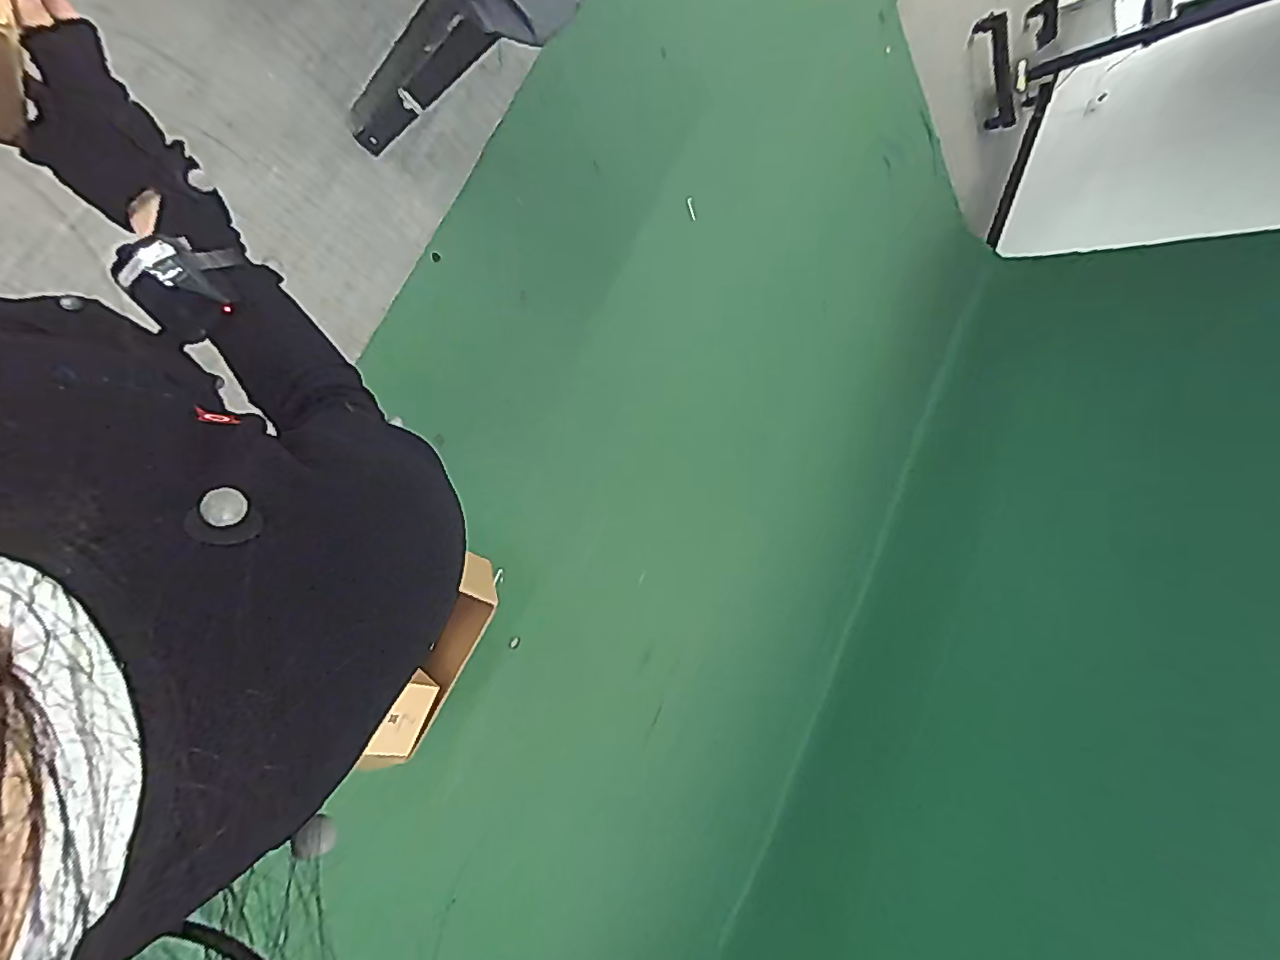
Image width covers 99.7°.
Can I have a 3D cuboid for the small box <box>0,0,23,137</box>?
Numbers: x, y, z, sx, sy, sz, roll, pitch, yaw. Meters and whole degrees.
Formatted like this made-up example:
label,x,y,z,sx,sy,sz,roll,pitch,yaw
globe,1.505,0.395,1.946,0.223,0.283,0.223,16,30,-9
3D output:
label,x,y,z,sx,sy,sz,roll,pitch,yaw
small box,-0.465,-0.332,0.291,0.168,0.176,0.179,-5,98,-47
